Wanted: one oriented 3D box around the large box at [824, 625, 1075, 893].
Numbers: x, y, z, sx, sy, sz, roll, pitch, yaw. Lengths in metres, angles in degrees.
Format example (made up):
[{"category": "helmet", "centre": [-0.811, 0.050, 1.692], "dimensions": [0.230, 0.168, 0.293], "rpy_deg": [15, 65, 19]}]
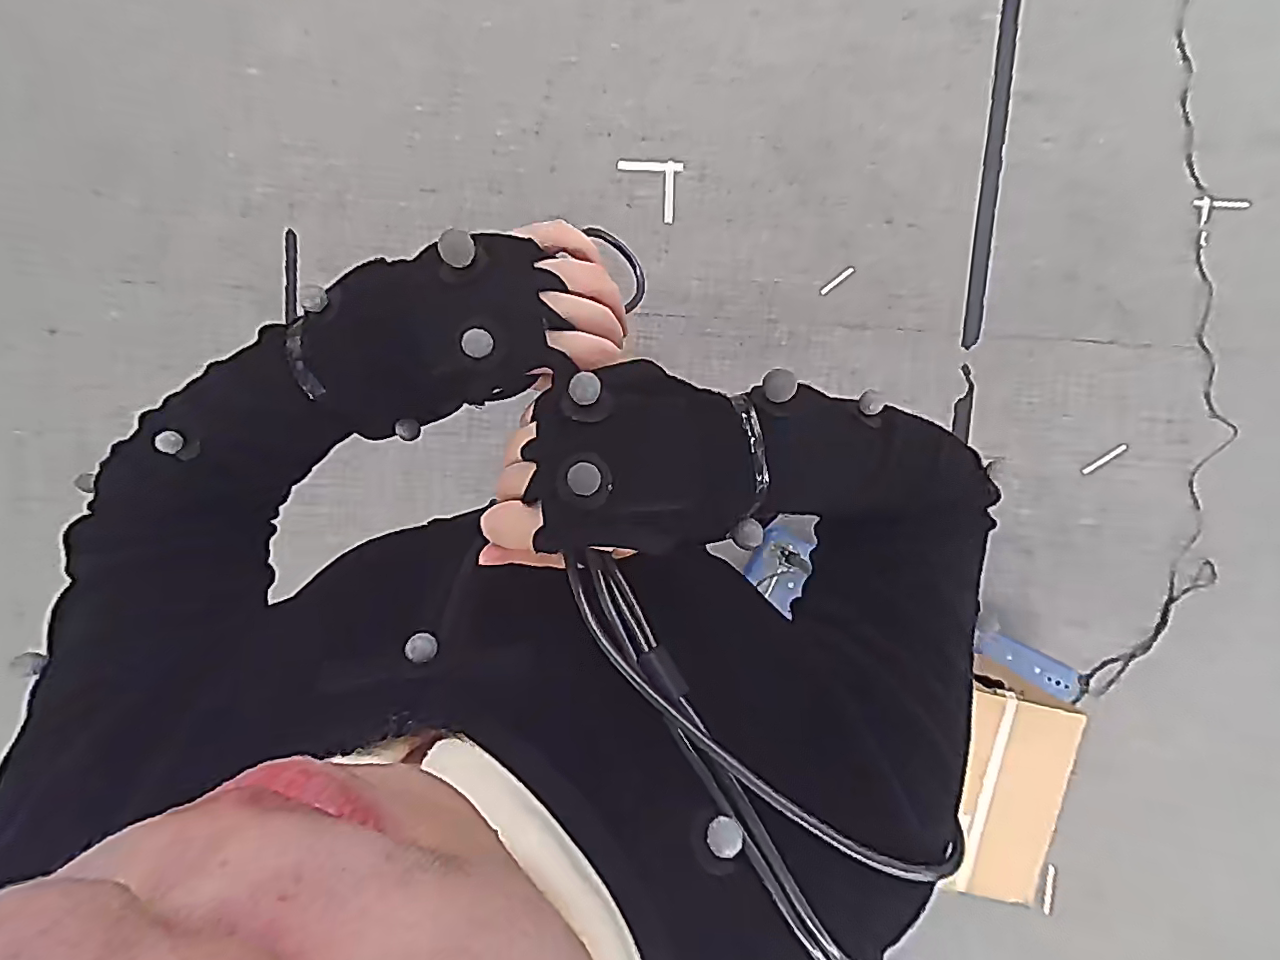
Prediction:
[{"category": "large box", "centre": [0.655, 0.590, 1.209], "dimensions": [0.320, 0.320, 0.408], "rpy_deg": [14, 94, -1]}]
